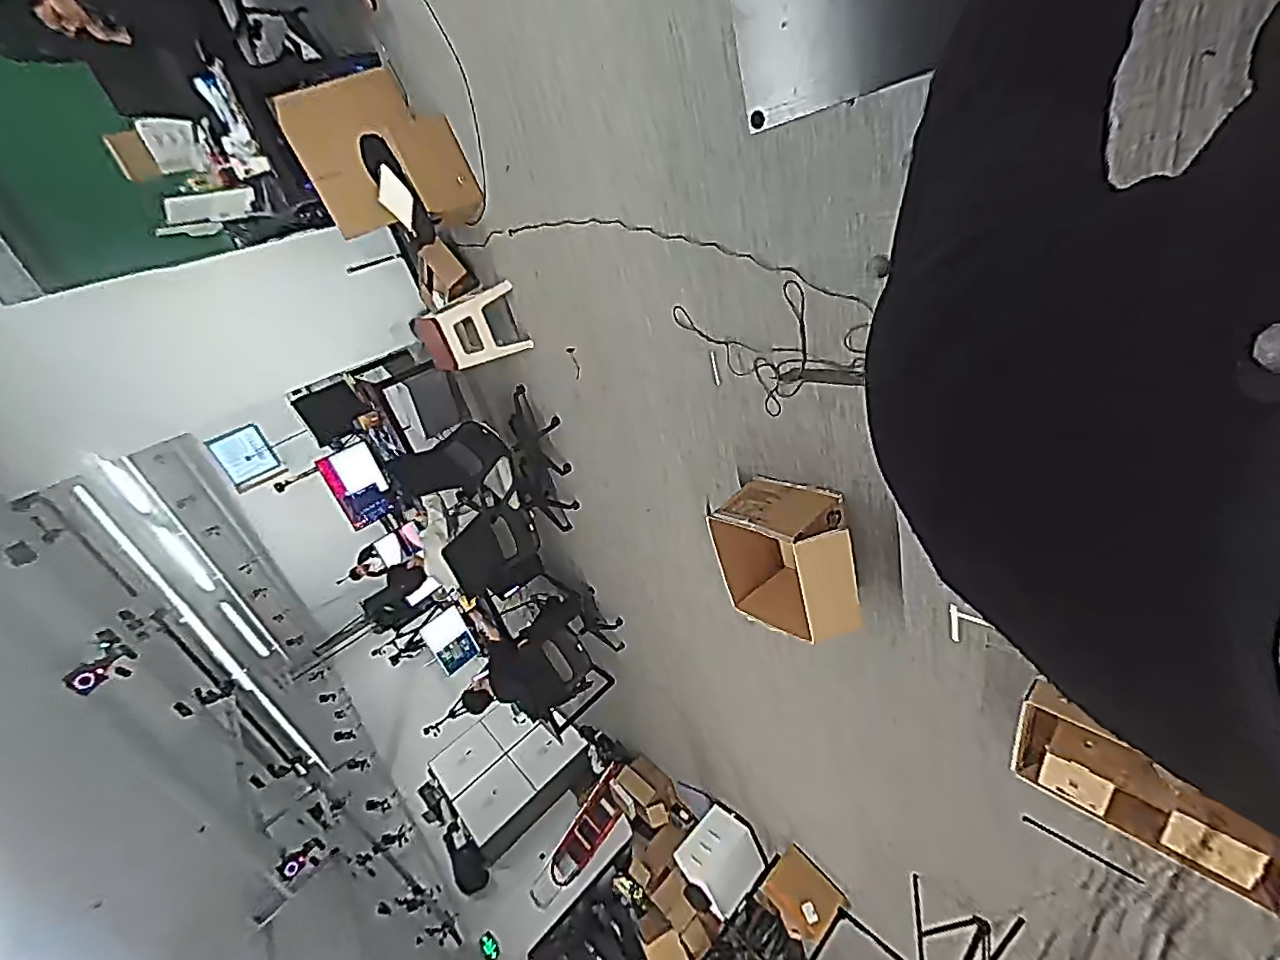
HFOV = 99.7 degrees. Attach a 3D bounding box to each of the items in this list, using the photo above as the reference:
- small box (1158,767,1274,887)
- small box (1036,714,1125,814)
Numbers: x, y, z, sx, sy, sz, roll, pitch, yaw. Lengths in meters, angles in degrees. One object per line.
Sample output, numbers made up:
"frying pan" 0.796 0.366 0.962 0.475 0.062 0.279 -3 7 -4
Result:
"small box" 1.546 0.920 1.451 0.179 0.176 0.168 21 133 48
"small box" 1.360 0.866 1.667 0.168 0.176 0.179 21 134 44
